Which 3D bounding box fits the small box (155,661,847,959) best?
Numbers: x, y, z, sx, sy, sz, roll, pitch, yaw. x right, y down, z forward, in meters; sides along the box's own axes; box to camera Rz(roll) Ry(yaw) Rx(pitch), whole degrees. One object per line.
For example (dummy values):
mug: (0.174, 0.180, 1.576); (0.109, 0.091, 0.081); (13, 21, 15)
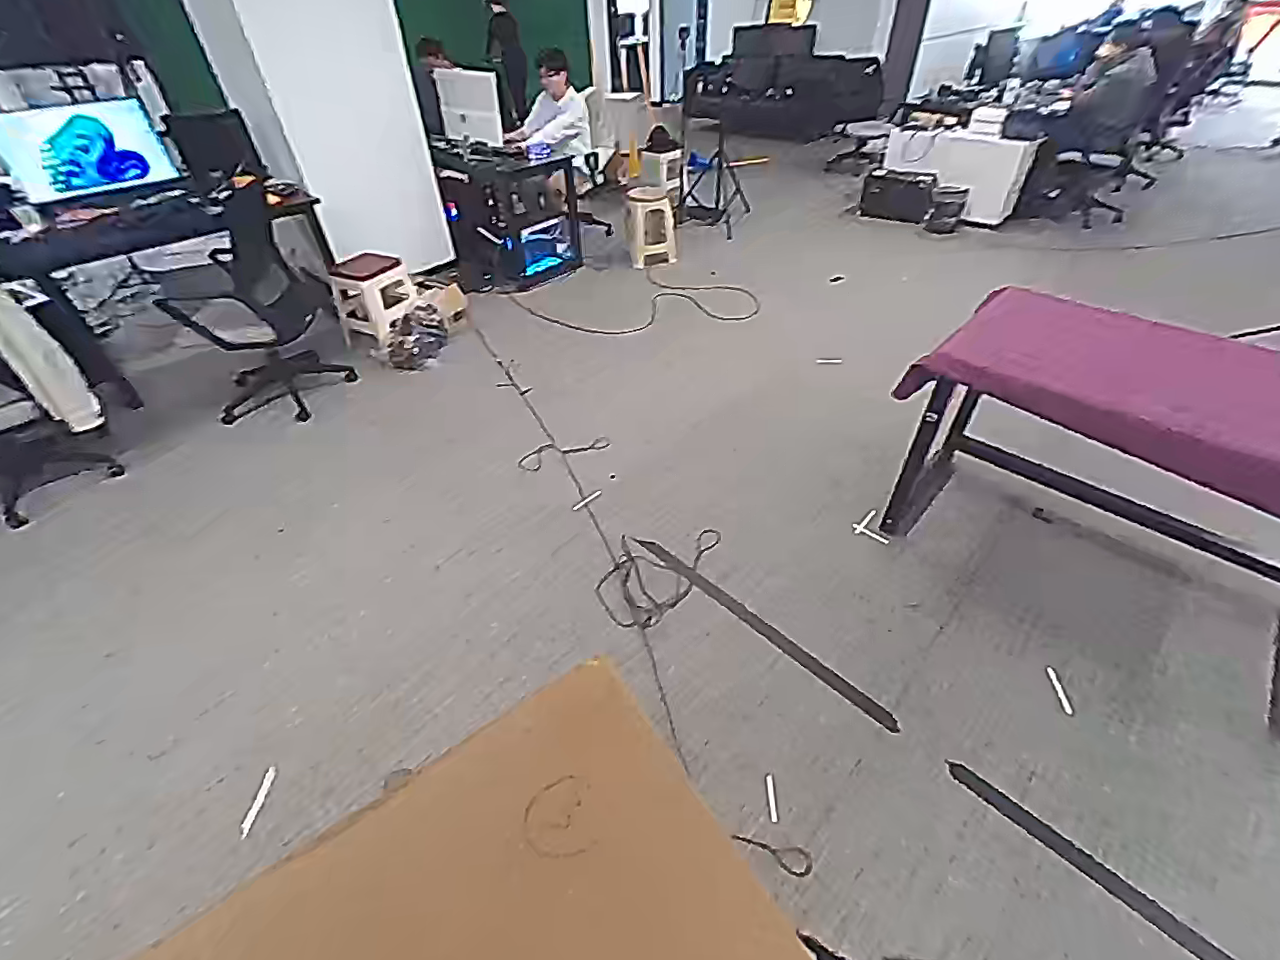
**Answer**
small box: (-0.035, 0.200, 0.183); (0.179, 0.176, 0.168); (-27, 59, -25)
